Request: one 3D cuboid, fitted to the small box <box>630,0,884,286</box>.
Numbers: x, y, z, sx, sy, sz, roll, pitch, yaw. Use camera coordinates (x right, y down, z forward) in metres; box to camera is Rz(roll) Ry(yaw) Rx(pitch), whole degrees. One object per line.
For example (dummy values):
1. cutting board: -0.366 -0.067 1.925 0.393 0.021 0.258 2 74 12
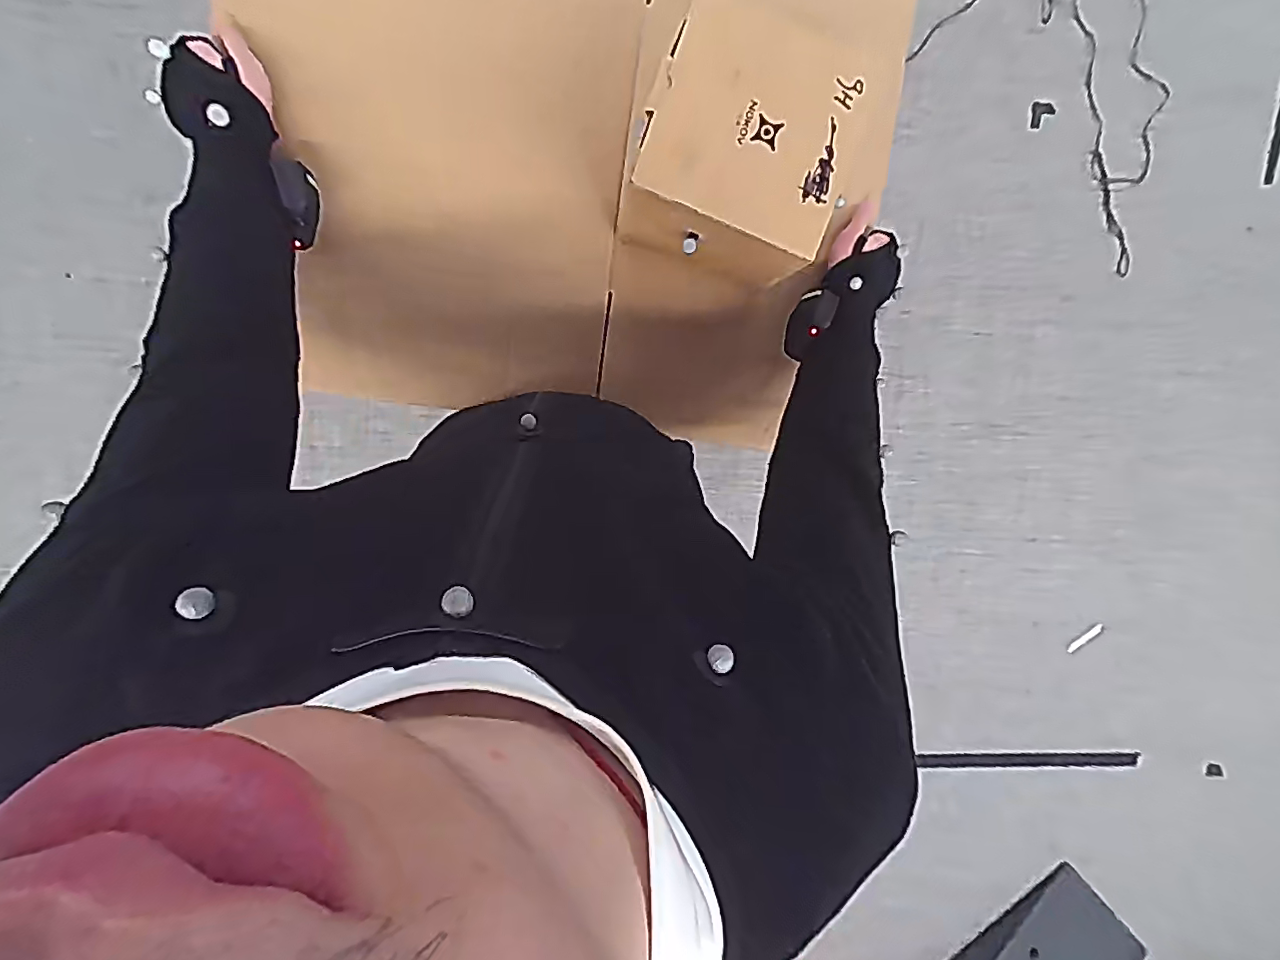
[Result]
1. small box: 0.096 -0.313 0.539 0.179 0.176 0.168 20 97 -7
